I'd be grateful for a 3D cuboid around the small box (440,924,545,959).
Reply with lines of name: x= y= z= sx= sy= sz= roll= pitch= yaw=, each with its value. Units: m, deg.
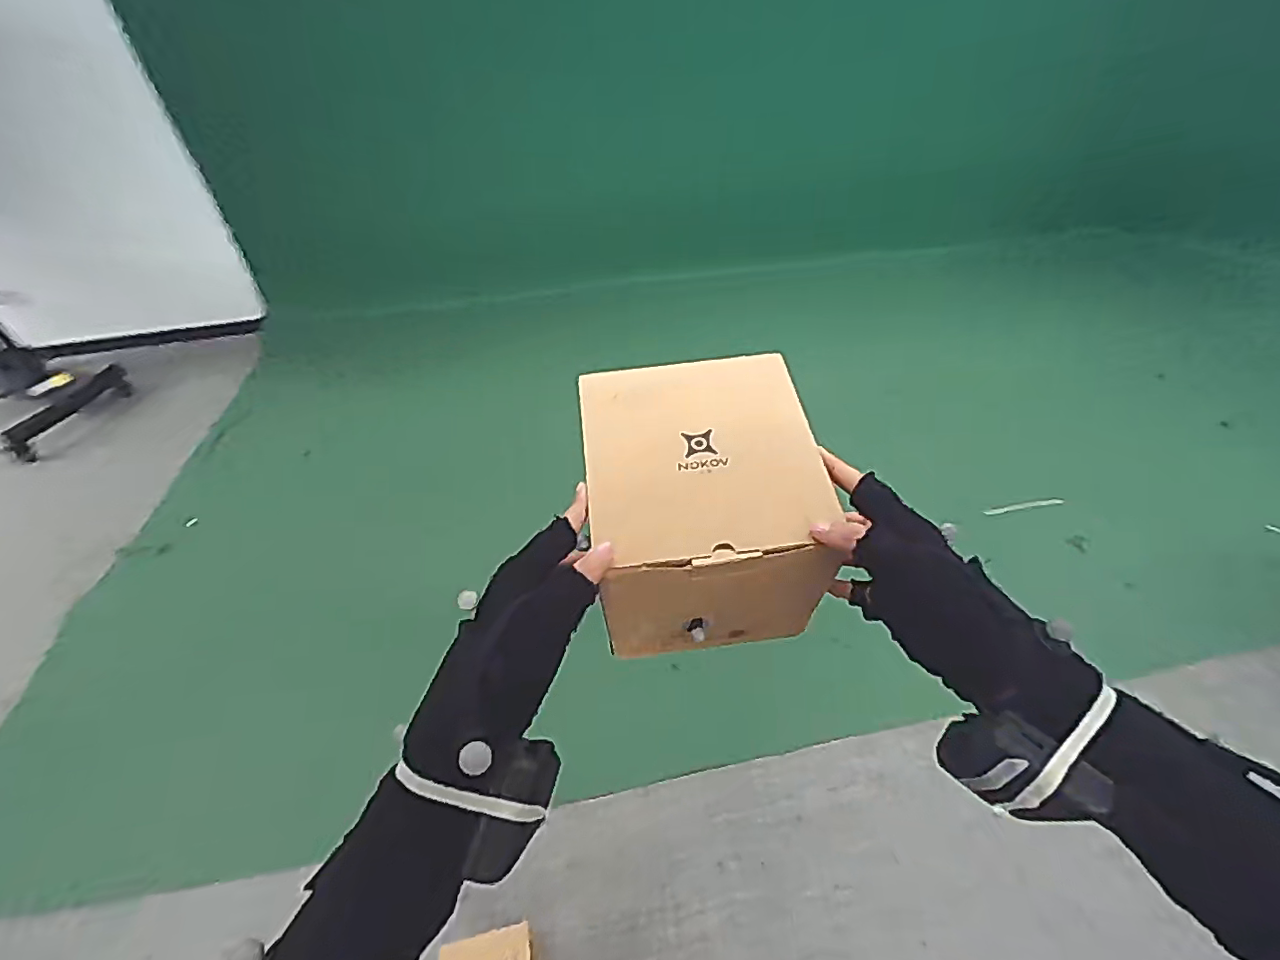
small box: x=-0.273 y=0.981 z=1.028 sx=0.179 sy=0.176 sz=0.168 roll=-11 pitch=42 yaw=-7
